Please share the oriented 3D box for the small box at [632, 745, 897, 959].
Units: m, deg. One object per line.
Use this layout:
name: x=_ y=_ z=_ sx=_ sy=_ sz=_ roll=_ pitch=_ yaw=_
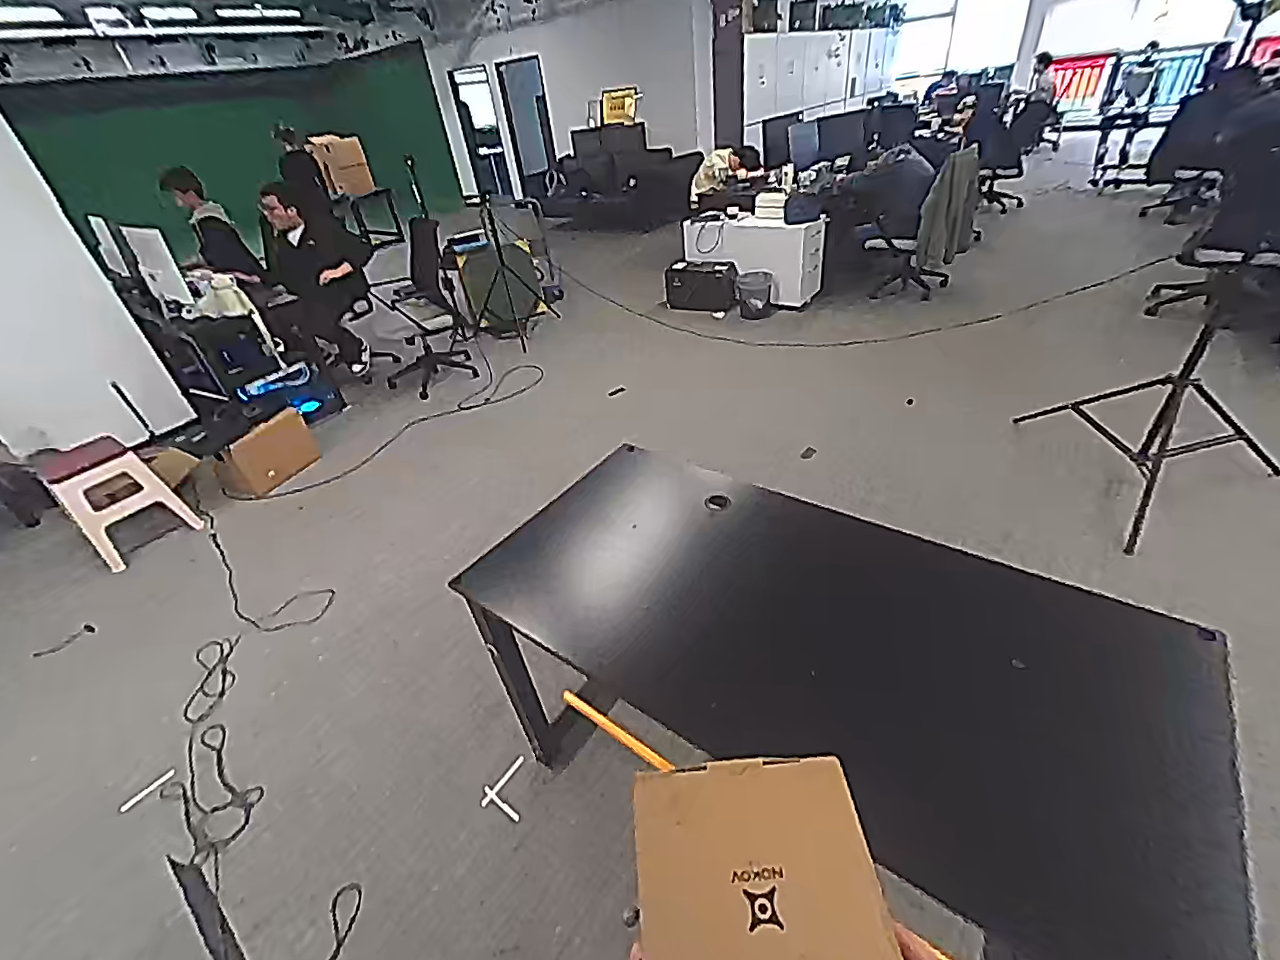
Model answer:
small box: x=0.079 y=0.337 z=0.426 sx=0.168 sy=0.176 sz=0.179 roll=-4 pitch=43 yaw=-2
